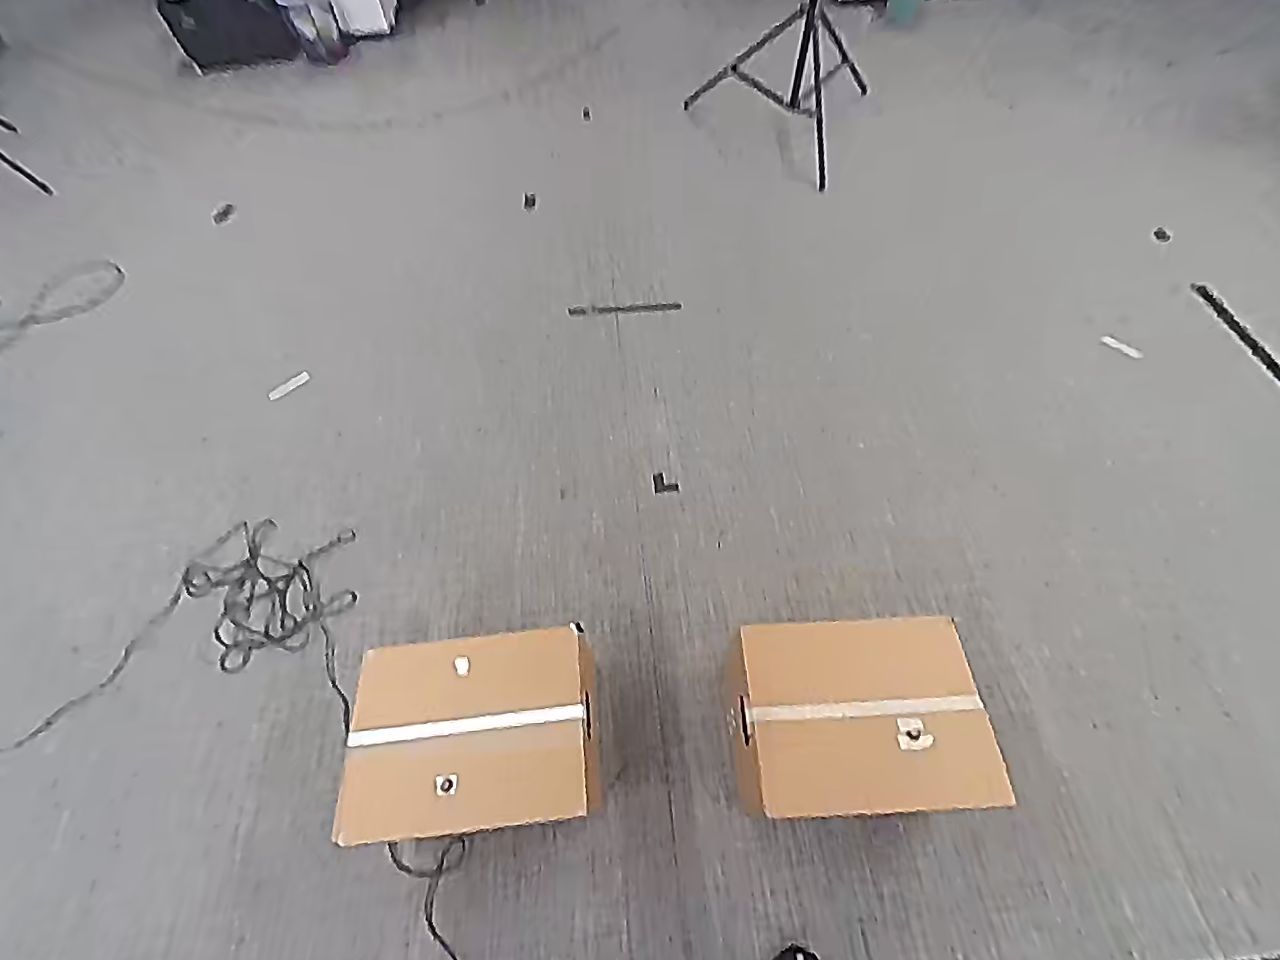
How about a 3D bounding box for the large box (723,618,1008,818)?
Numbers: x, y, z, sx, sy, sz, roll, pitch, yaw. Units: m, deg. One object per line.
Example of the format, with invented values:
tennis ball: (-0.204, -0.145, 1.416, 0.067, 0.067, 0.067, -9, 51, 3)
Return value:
large box: (0.399, 0.483, 1.081, 0.408, 0.320, 0.320, -2, 59, 0)
